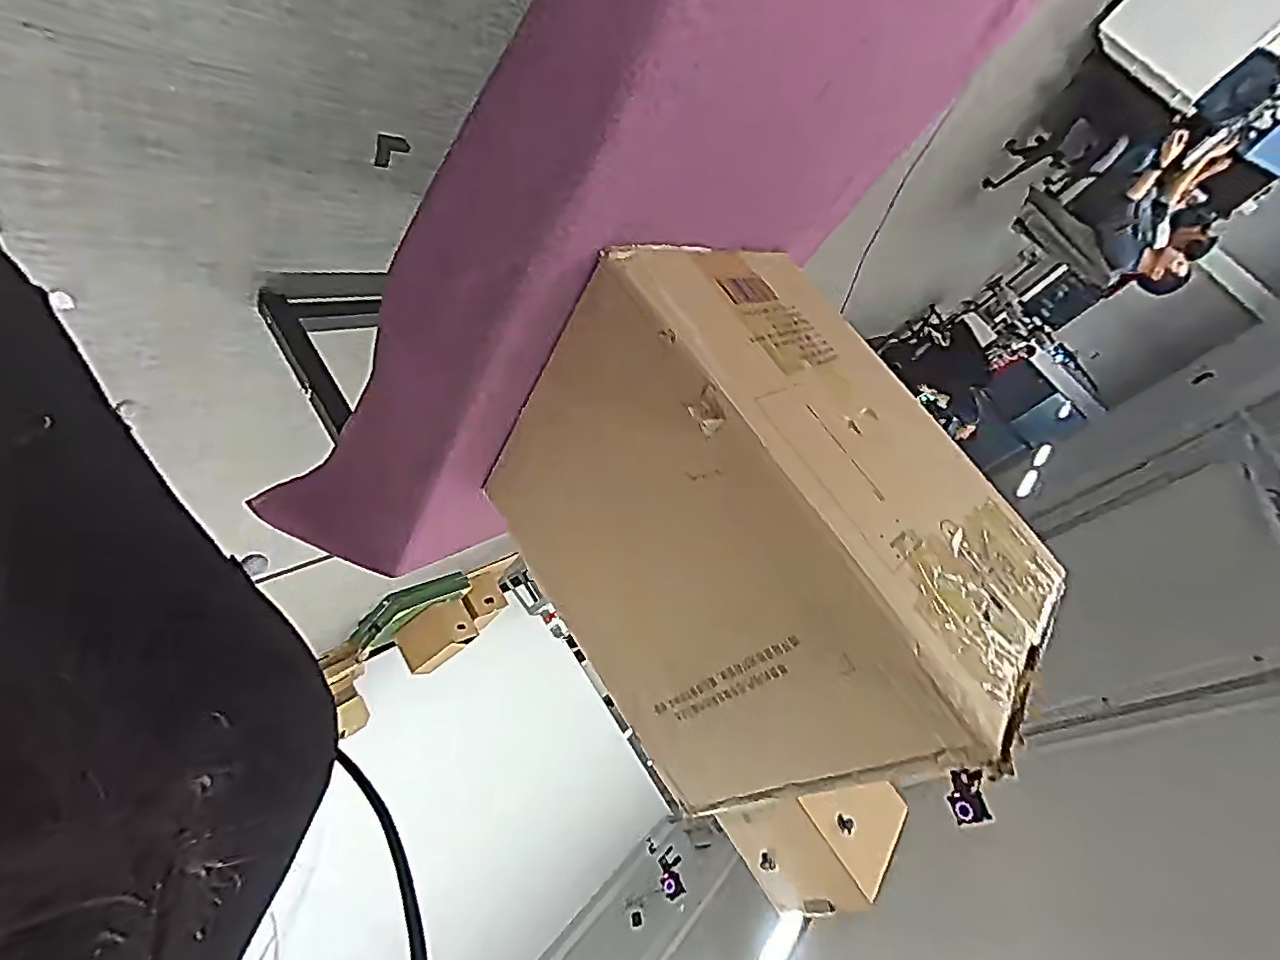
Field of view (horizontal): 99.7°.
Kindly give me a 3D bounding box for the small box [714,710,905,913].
[{"bbox_3d":[0.241,0.474,0.785,0.179,0.176,0.168,-23,162,-48],"label":"small box"}]
